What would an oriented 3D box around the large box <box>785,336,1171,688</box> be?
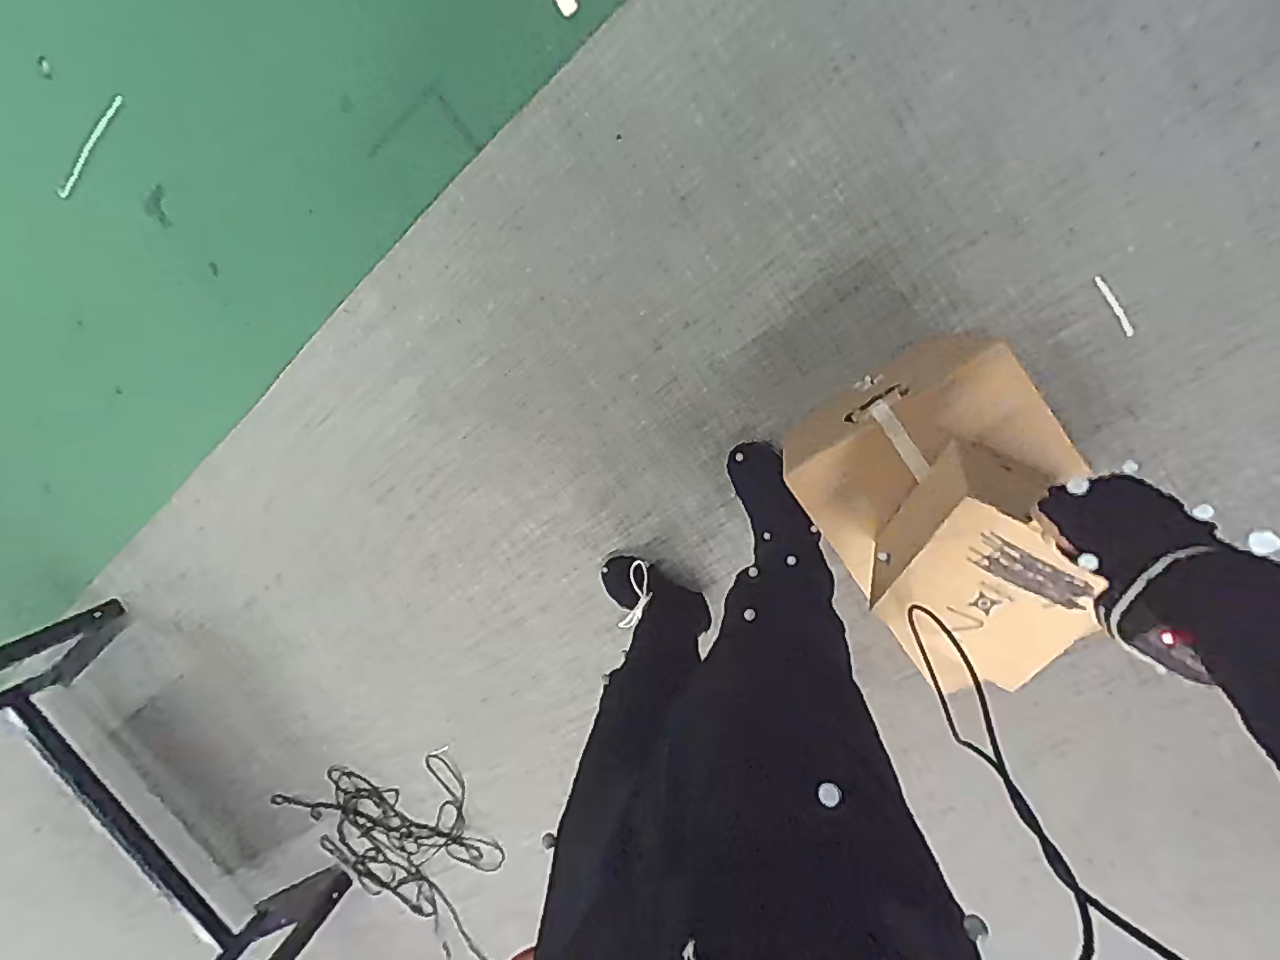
[{"bbox_3d":[0.474,0.028,0.859,0.320,0.320,0.408,-35,96,22],"label":"large box"}]
